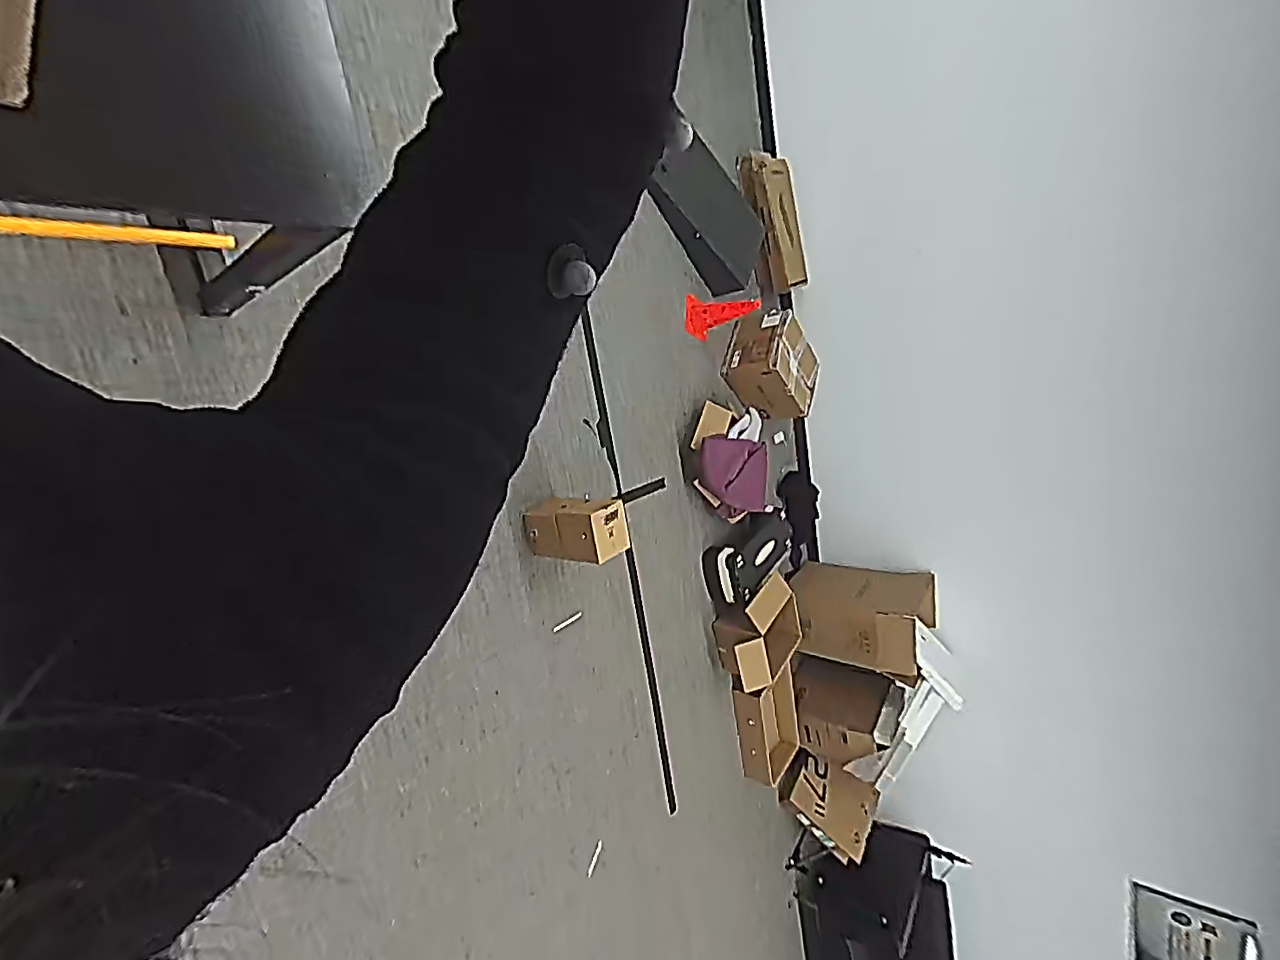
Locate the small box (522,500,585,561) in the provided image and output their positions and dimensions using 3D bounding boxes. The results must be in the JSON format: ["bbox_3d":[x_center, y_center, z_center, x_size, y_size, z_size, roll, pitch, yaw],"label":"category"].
[{"bbox_3d":[-0.297,0.176,1.959,0.179,0.176,0.168,-29,111,-46],"label":"small box"}]

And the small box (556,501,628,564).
[{"bbox_3d":[-0.168,0.175,1.856,0.168,0.176,0.179,-23,108,-48],"label":"small box"}]
